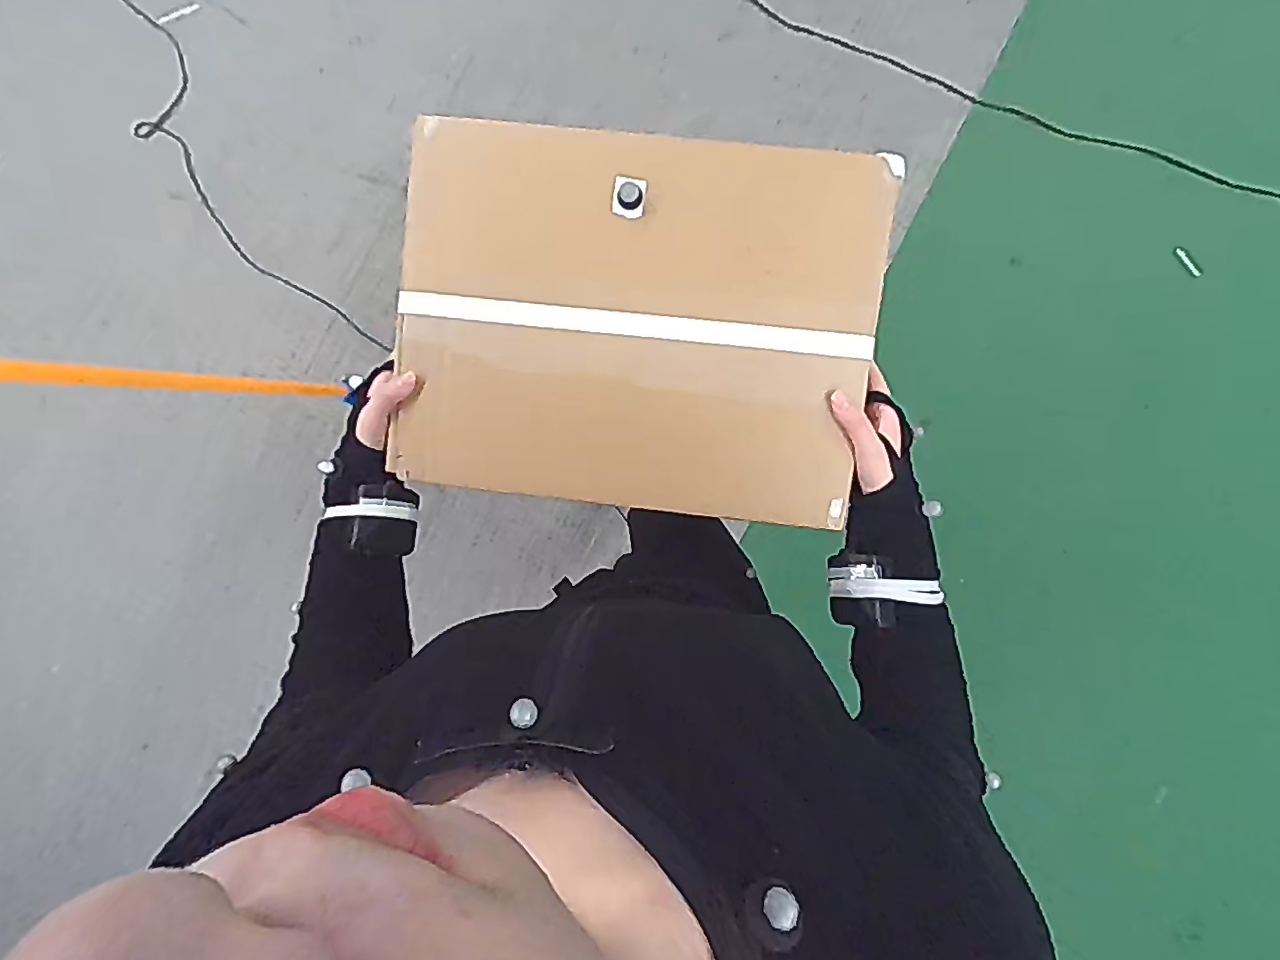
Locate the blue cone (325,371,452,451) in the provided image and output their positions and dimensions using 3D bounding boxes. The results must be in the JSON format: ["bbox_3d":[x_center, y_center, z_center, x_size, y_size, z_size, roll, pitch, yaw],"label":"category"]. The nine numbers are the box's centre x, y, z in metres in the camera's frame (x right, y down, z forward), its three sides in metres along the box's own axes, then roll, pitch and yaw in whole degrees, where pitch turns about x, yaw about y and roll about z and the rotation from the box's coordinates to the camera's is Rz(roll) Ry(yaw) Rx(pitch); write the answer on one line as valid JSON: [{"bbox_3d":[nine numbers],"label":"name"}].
[{"bbox_3d":[-0.642,-0.191,1.349,0.192,0.380,0.193,25,92,3],"label":"blue cone"}]
